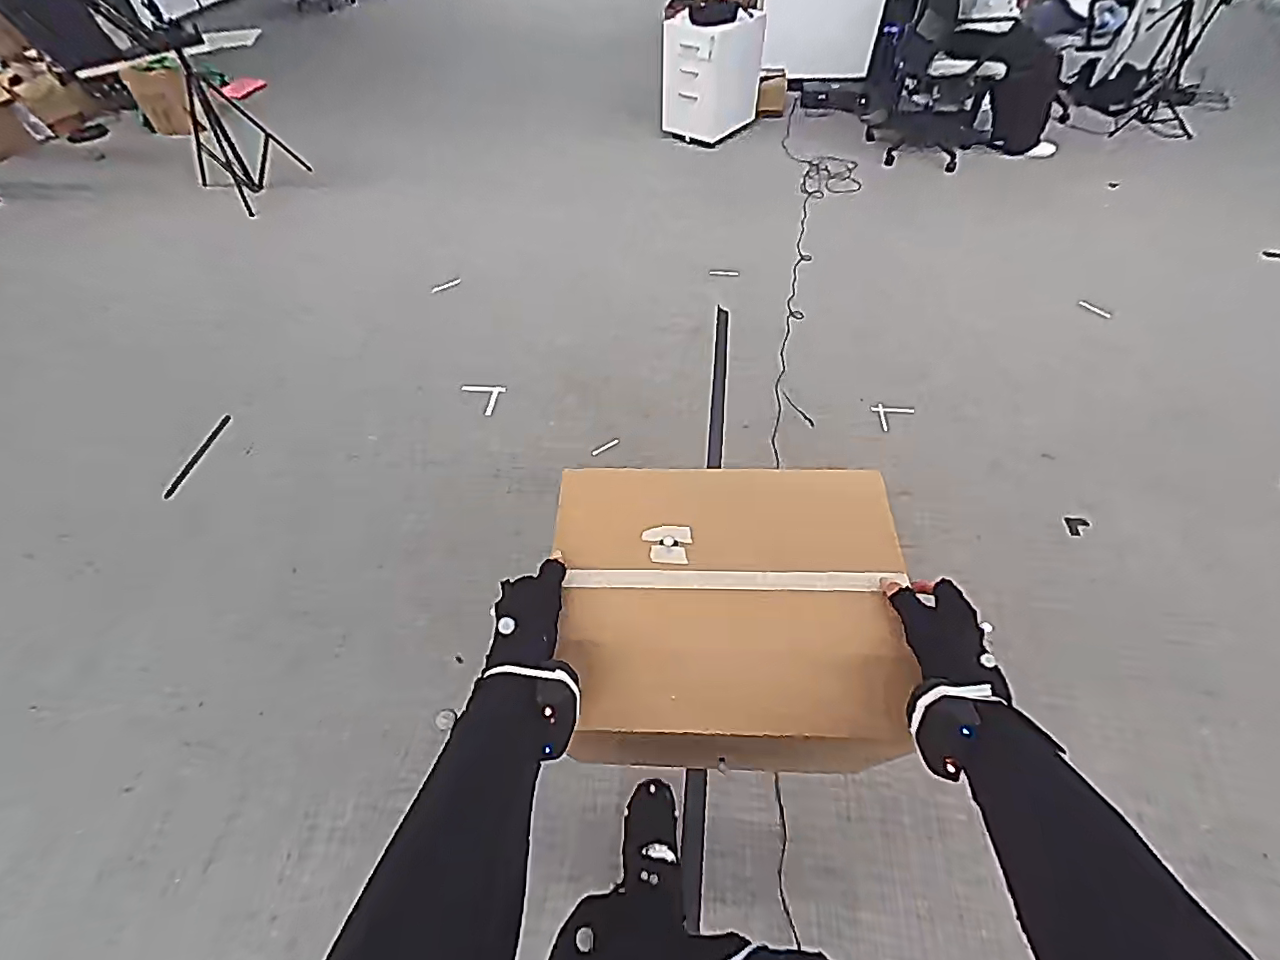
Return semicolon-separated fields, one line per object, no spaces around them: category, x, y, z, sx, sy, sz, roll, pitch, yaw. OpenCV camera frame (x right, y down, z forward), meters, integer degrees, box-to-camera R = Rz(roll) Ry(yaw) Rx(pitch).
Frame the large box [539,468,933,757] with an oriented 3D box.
large box;0.106;0.196;0.748;0.408;0.320;0.320;0;56;4
